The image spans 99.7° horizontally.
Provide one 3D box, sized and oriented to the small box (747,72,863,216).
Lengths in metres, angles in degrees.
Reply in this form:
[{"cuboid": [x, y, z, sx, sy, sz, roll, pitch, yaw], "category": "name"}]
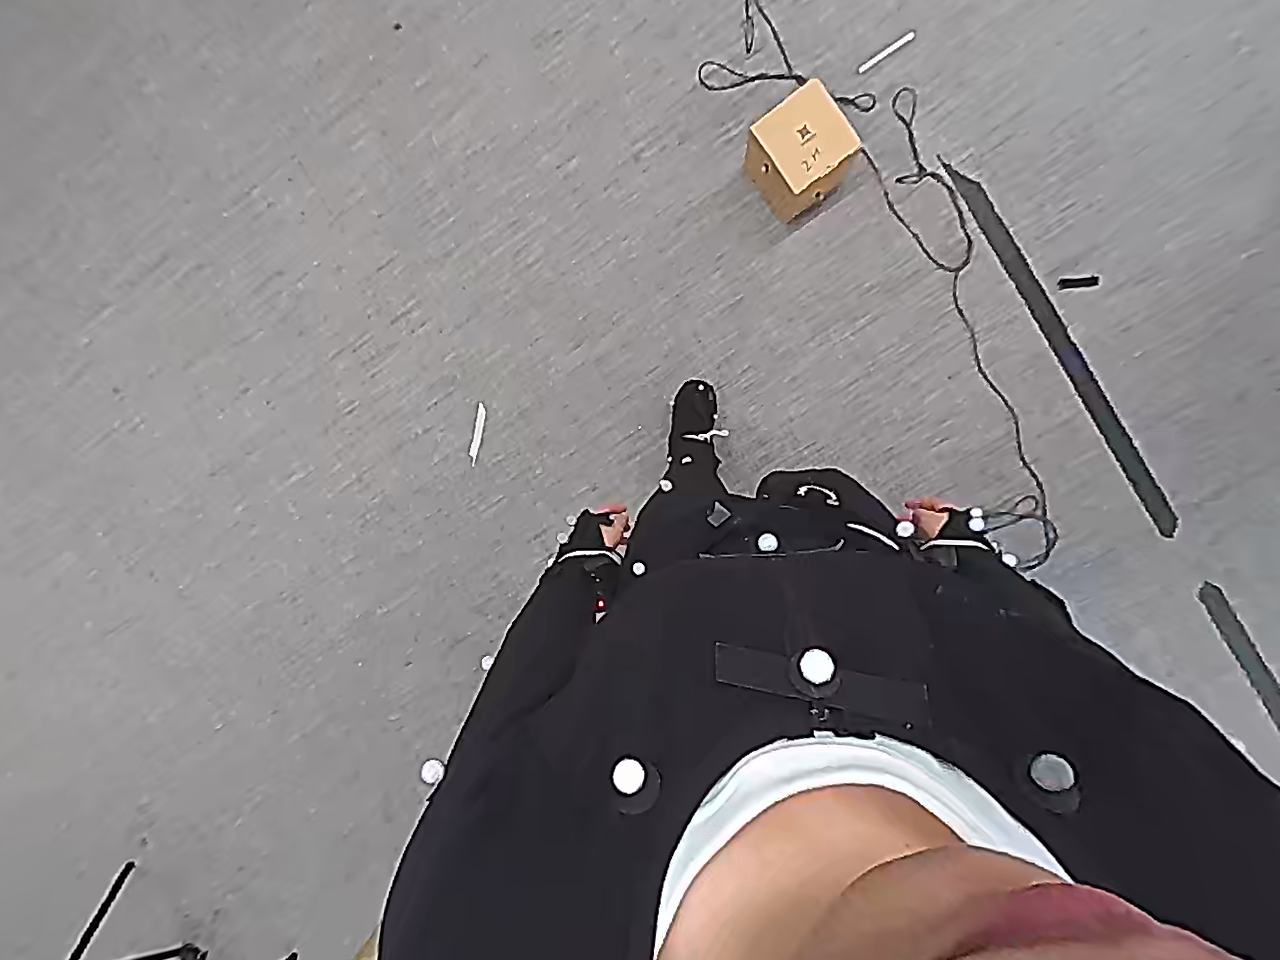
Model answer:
[{"cuboid": [0.351, -0.724, 1.190, 0.168, 0.176, 0.179, -35, 91, 9], "category": "small box"}]
